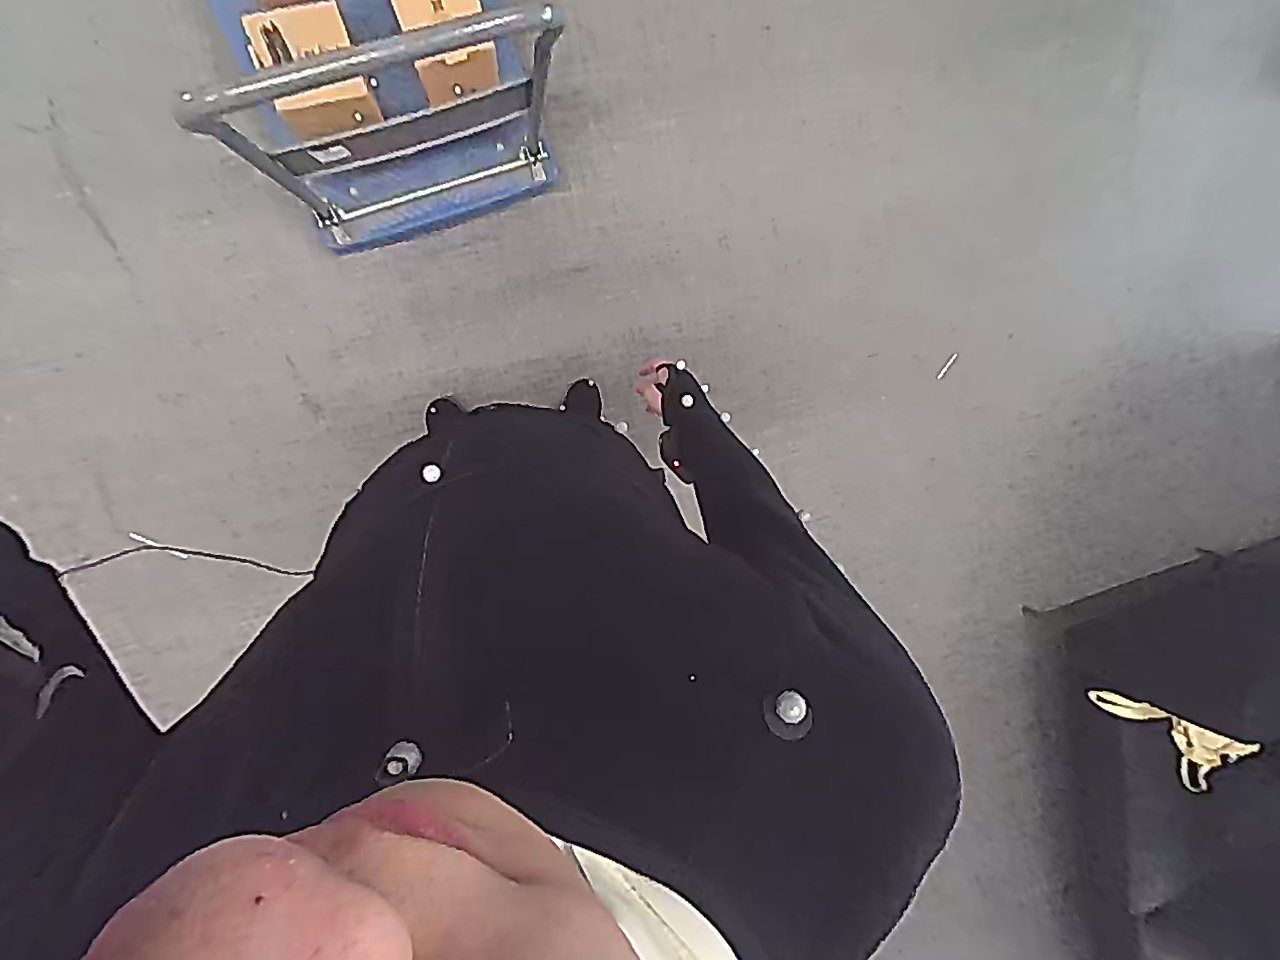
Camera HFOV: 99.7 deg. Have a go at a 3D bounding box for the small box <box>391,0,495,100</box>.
[{"bbox_3d":[-0.414,-0.947,1.134,0.168,0.176,0.179,-21,105,-7],"label":"small box"}]
